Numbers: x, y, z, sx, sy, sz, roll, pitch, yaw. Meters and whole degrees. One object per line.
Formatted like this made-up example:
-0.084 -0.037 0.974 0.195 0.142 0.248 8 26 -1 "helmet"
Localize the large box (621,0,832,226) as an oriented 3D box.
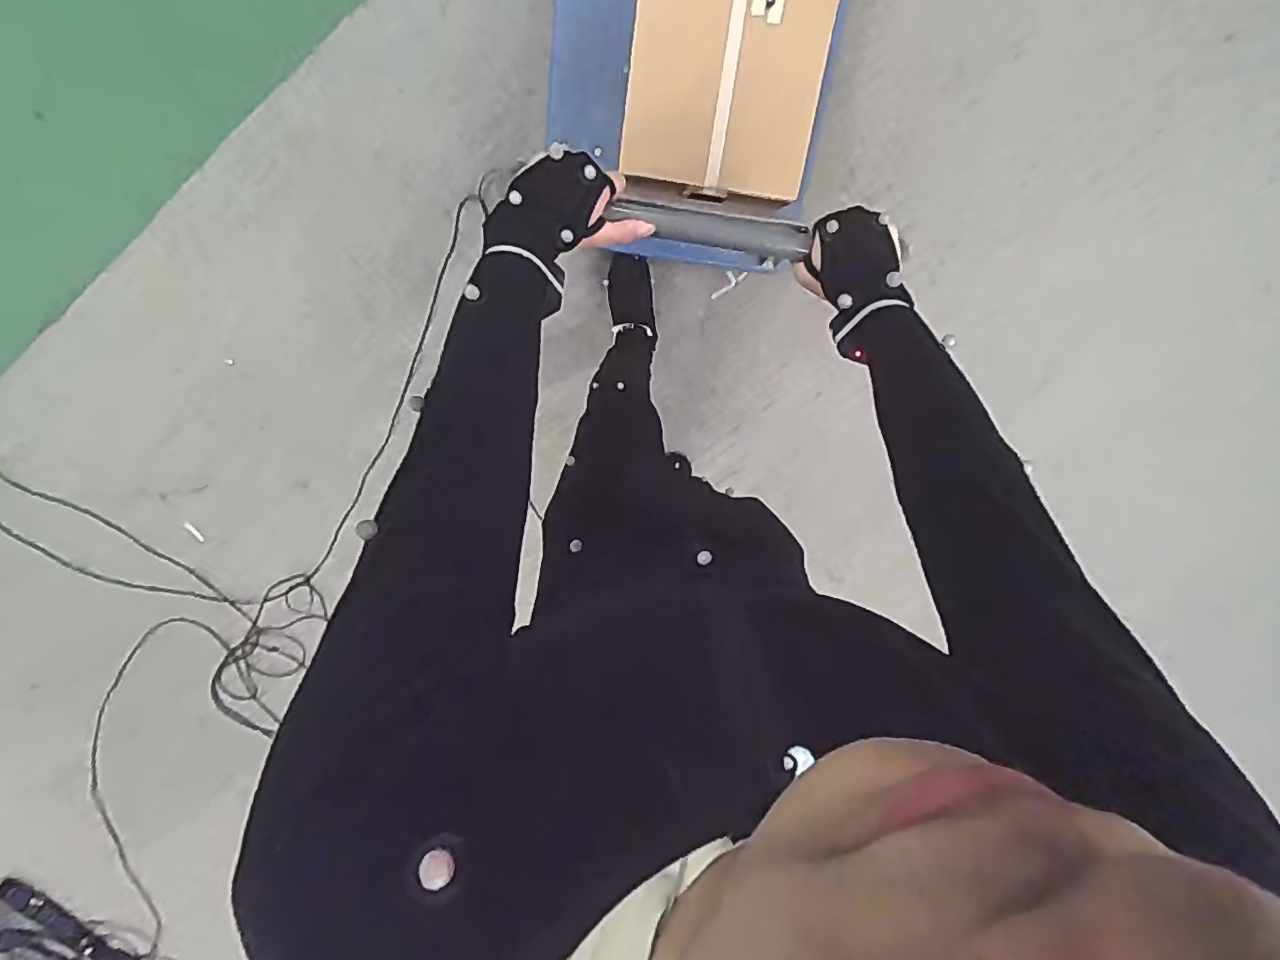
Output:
0.140 -0.736 1.028 0.320 0.320 0.408 7 108 -4 "large box"
